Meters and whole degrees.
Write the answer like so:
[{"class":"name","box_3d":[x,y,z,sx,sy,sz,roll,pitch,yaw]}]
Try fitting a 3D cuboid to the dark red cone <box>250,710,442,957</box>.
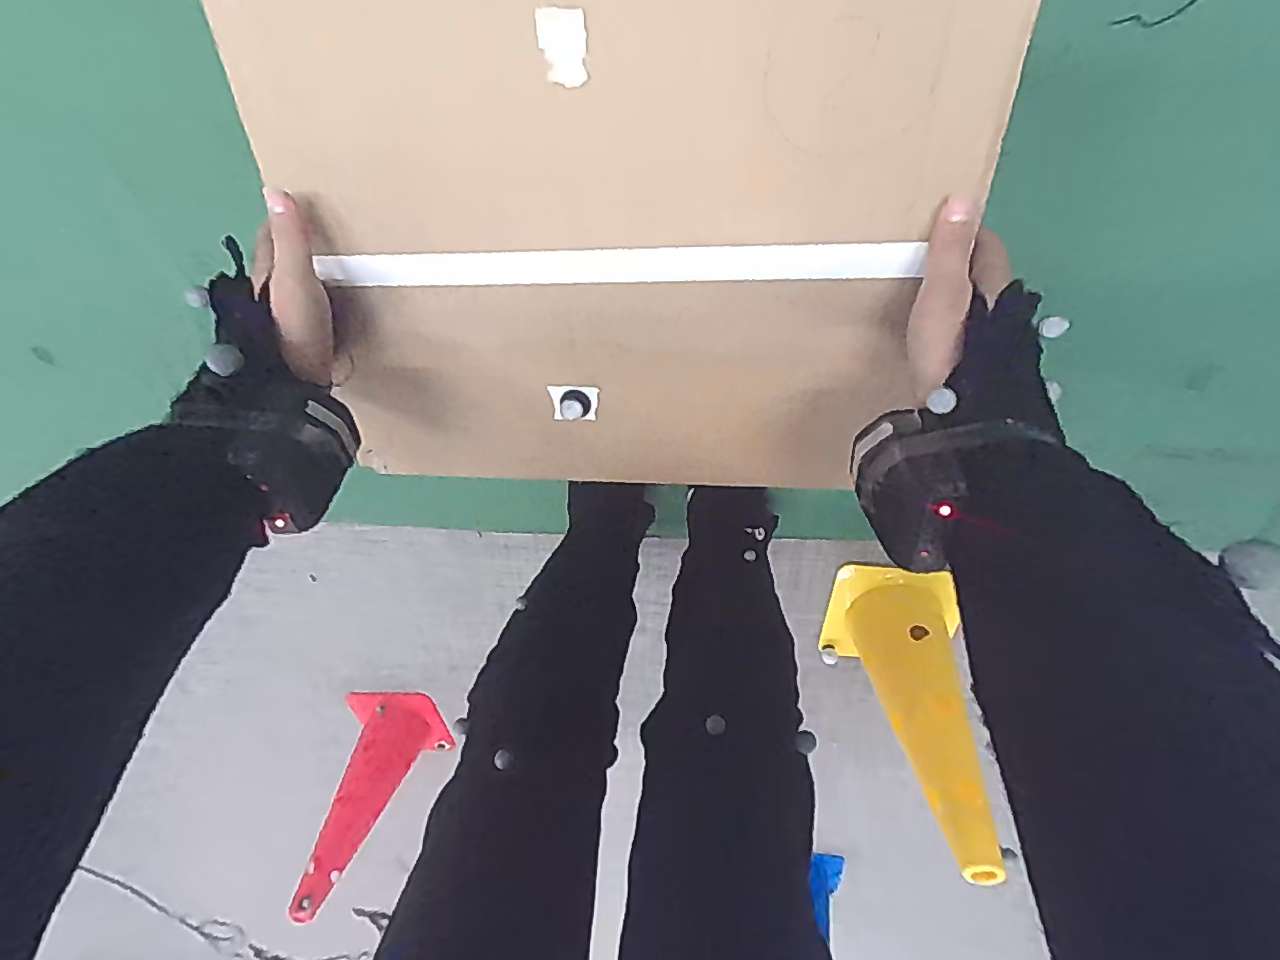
[{"class":"dark red cone","box_3d":[-0.552,0.632,0.997,0.202,0.394,0.201,-5,118,11]}]
